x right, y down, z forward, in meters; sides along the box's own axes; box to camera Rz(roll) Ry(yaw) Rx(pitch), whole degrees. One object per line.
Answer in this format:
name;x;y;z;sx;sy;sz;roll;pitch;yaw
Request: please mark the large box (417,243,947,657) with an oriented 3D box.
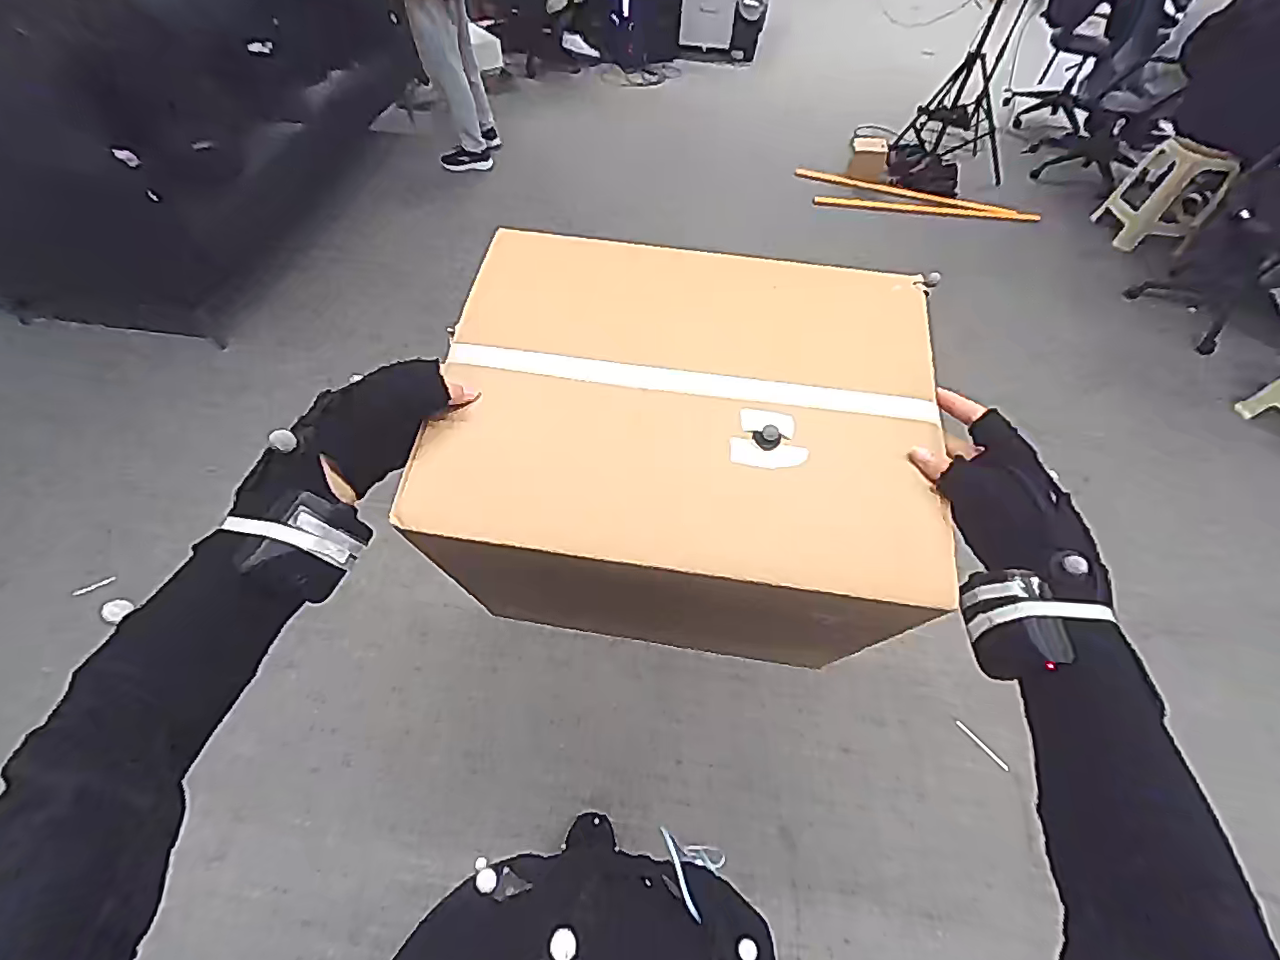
large box;0.042;-0.011;0.595;0.408;0.320;0.320;8;64;2
